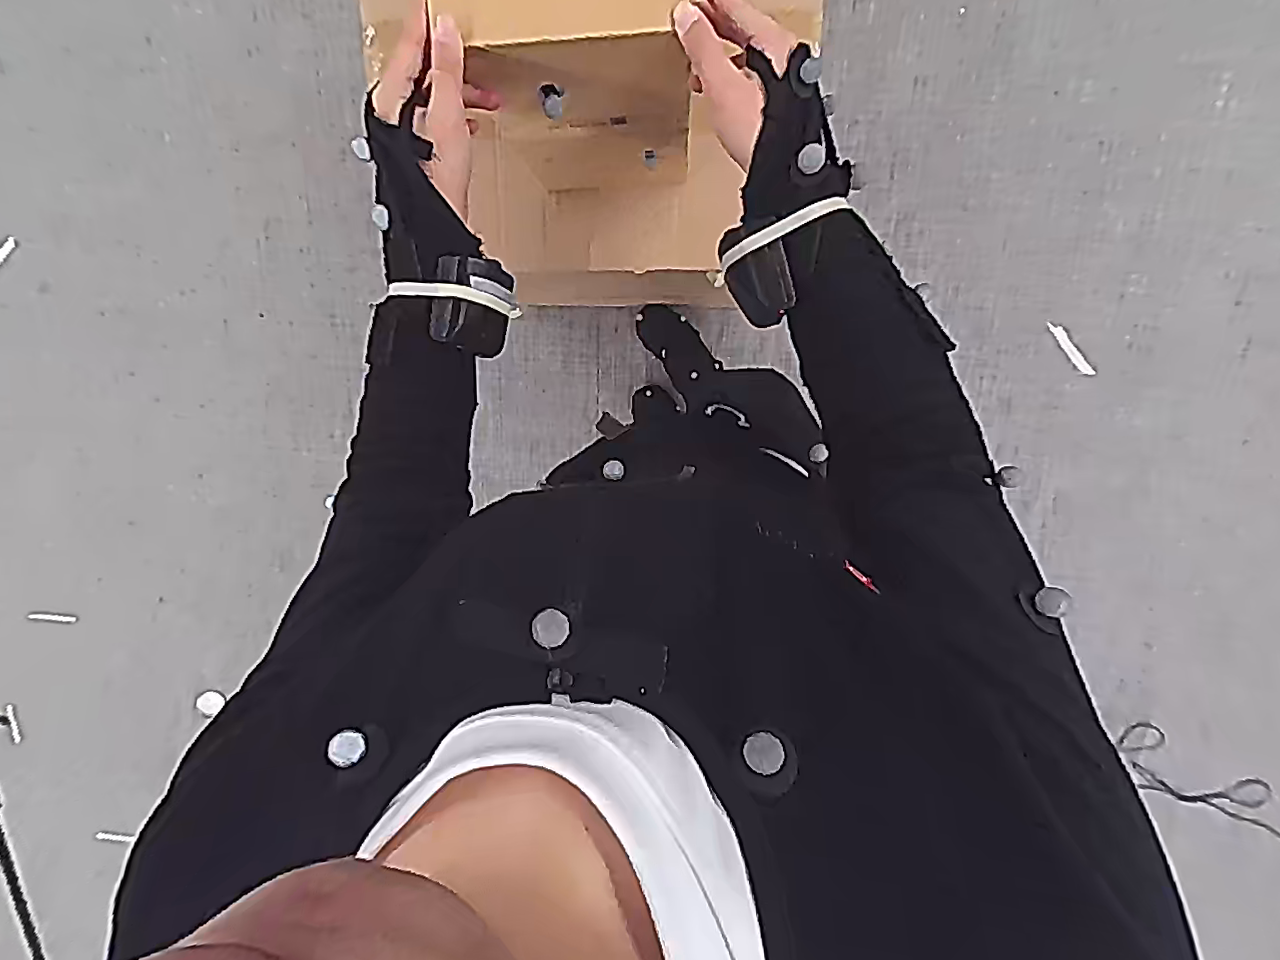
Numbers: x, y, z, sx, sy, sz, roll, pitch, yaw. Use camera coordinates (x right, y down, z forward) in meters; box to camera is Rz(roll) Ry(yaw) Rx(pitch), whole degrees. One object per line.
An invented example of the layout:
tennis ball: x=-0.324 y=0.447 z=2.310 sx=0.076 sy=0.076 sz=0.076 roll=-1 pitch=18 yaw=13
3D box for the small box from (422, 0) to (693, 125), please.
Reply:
small box: x=-0.045 y=-0.374 z=0.380 sx=0.168 sy=0.176 sz=0.179 roll=-1 pitch=104 yaw=5
